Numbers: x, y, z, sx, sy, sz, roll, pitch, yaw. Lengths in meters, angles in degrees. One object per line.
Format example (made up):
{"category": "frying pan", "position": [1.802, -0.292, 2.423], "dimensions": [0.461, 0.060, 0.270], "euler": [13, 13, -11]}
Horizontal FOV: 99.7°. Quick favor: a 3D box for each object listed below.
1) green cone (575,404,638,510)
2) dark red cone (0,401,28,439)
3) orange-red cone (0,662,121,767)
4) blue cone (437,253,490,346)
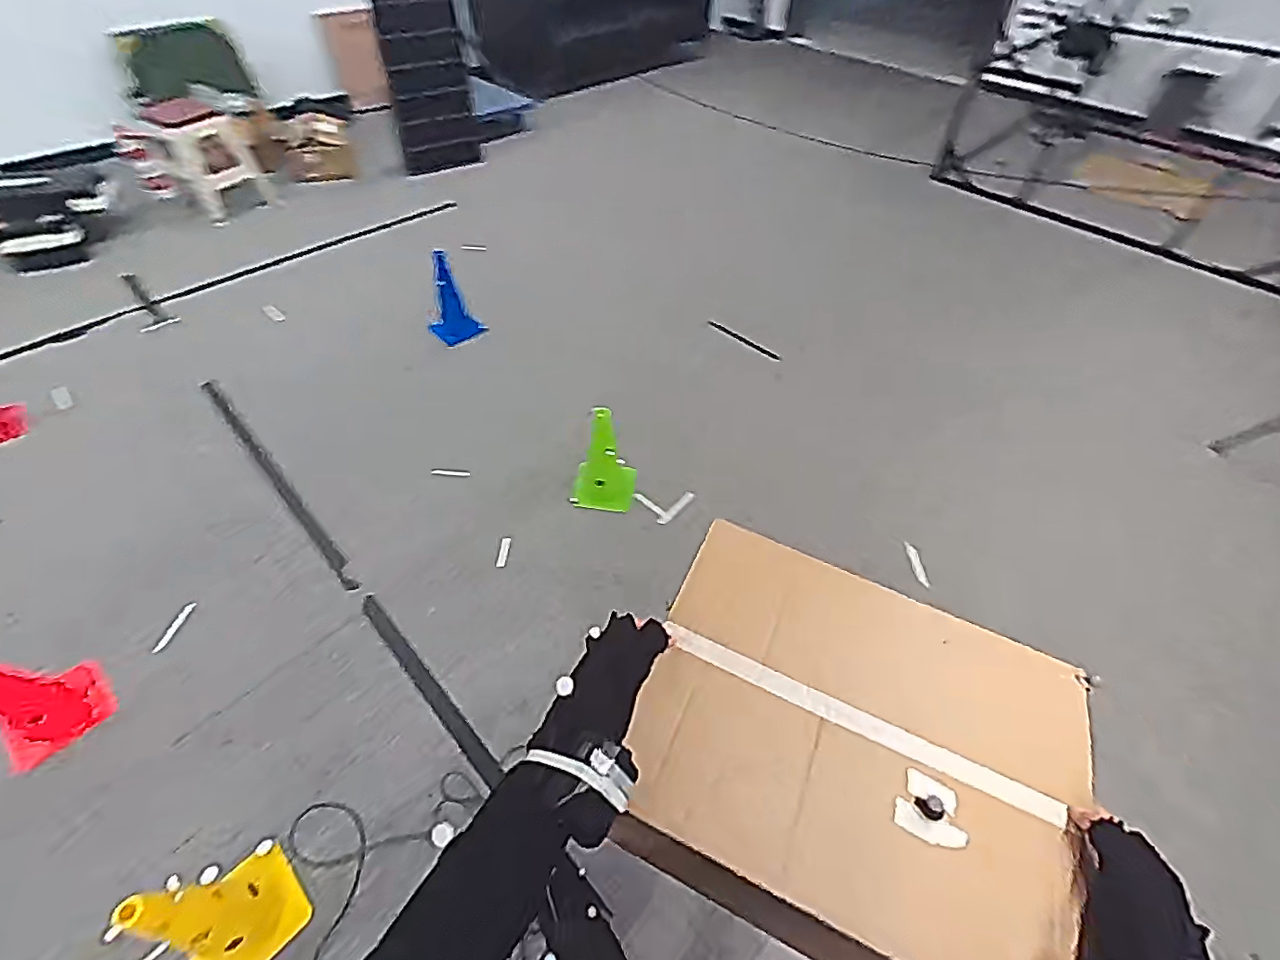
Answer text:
{"category": "green cone", "position": [-0.106, -0.092, 1.750], "dimensions": [0.200, 0.368, 0.202], "euler": [7, 49, 3]}
{"category": "dark red cone", "position": [-2.306, -0.296, 1.803], "dimensions": [0.201, 0.394, 0.202], "euler": [-31, 58, -26]}
{"category": "orange-red cone", "position": [-1.434, 0.477, 1.225], "dimensions": [0.199, 0.360, 0.198], "euler": [36, 59, 23]}
{"category": "blue cone", "position": [-0.795, -0.784, 2.322], "dimensions": [0.192, 0.380, 0.193], "euler": [-33, 59, -27]}
